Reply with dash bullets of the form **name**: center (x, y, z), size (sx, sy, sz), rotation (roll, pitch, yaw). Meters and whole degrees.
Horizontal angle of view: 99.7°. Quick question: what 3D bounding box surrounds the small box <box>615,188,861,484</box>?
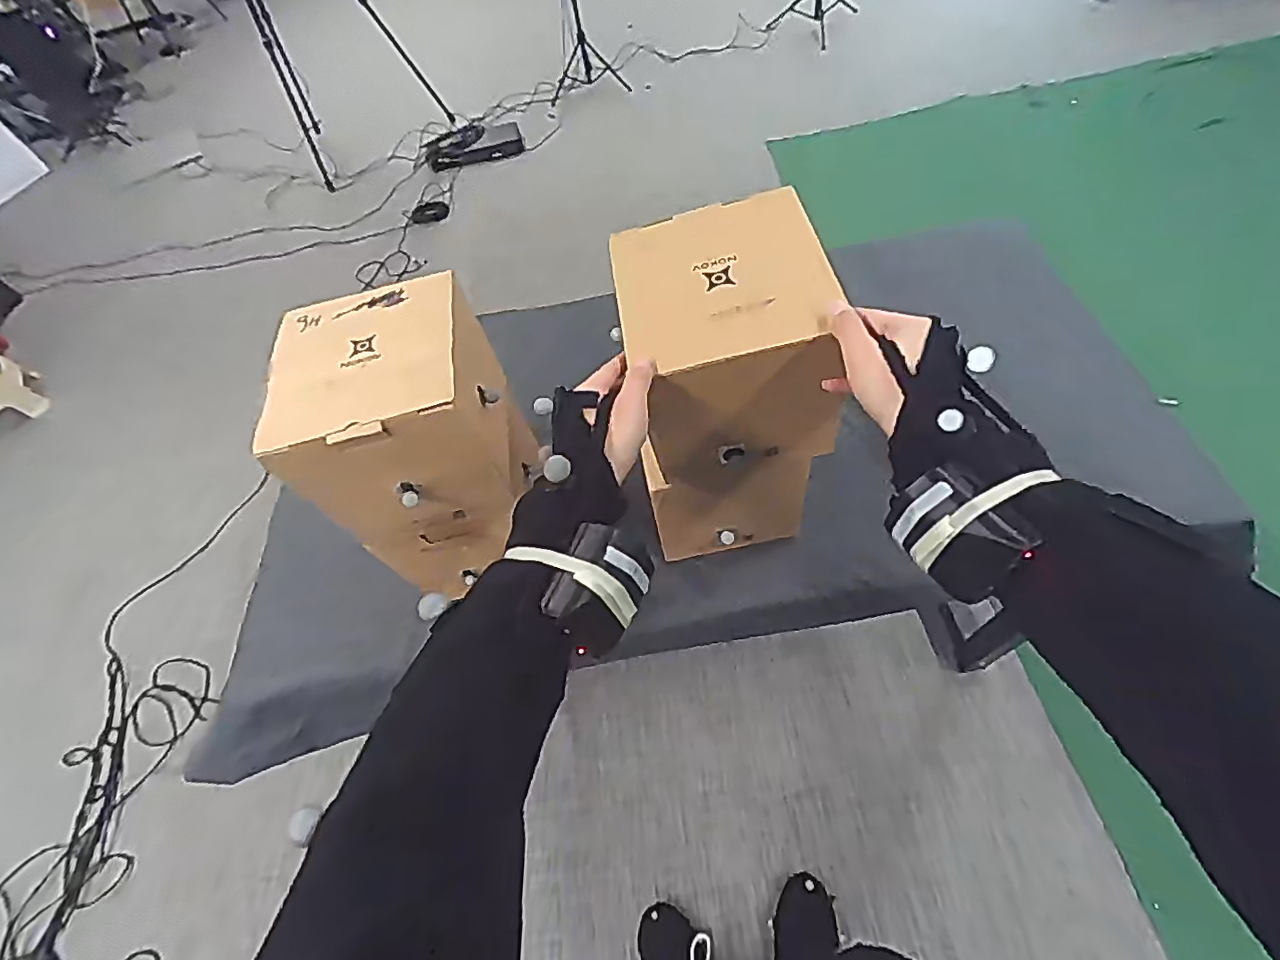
- **small box**: center (0.082, -0.122, 0.496), size (0.168, 0.176, 0.179), rotation (-13, 60, 7)

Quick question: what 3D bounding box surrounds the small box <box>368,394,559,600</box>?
- **small box**: center (-0.205, 0.025, 0.668), size (0.168, 0.176, 0.179), rotation (-13, 56, 1)

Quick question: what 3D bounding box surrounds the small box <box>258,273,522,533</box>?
- **small box**: center (-0.223, -0.063, 0.530), size (0.168, 0.176, 0.179), rotation (-14, 57, 1)

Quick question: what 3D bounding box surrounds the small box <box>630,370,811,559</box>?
- **small box**: center (0.089, -0.029, 0.648), size (0.168, 0.176, 0.179), rotation (-12, 56, 2)
